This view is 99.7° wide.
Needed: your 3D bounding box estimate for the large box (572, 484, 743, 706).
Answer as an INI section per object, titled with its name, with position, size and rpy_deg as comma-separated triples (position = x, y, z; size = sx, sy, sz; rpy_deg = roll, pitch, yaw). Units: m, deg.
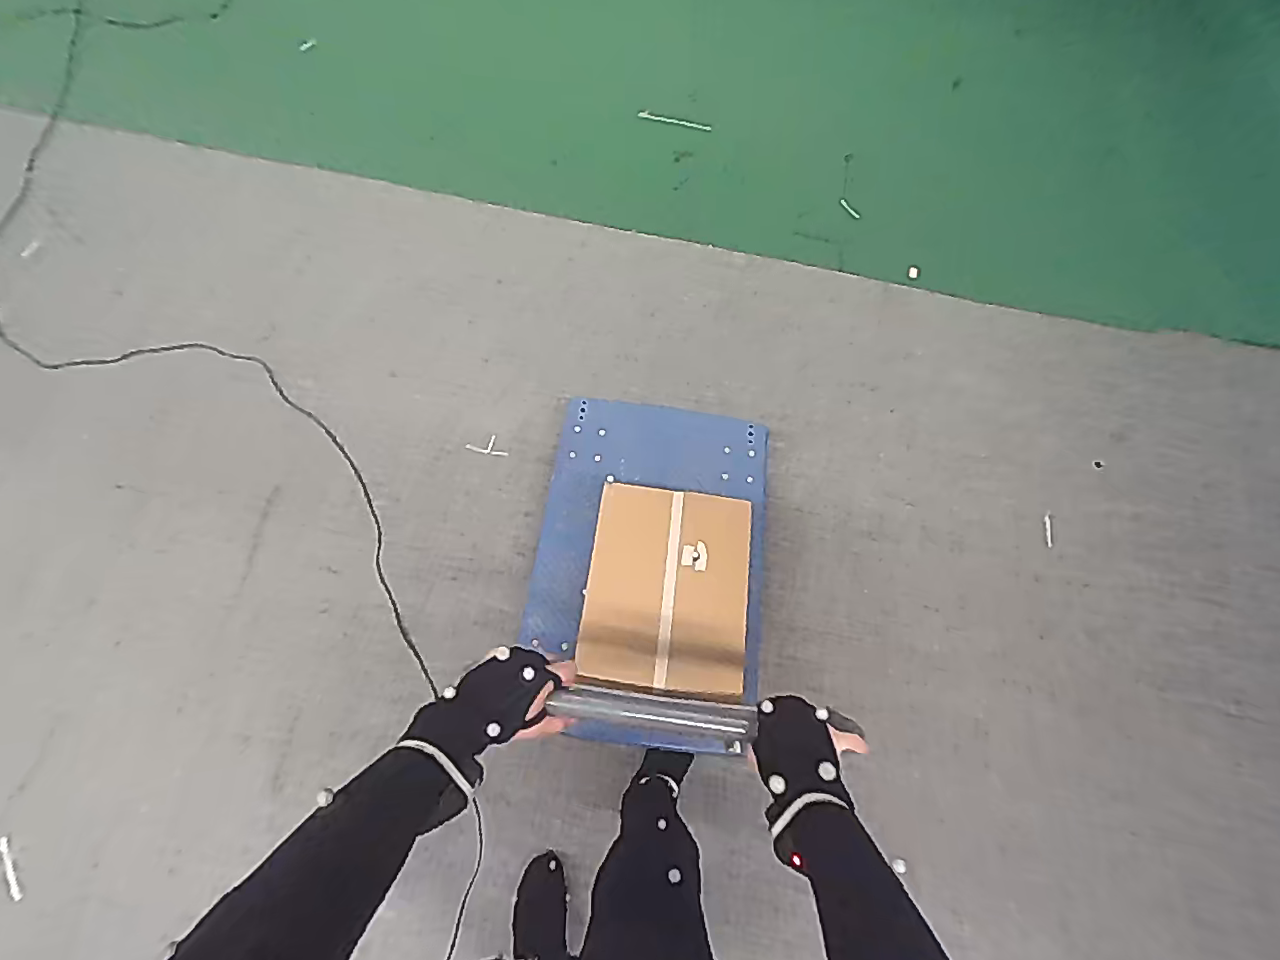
[large box]
position = 0.038, 0.267, 1.197
size = 0.320, 0.320, 0.408
rpy_deg = 8, 65, -1
